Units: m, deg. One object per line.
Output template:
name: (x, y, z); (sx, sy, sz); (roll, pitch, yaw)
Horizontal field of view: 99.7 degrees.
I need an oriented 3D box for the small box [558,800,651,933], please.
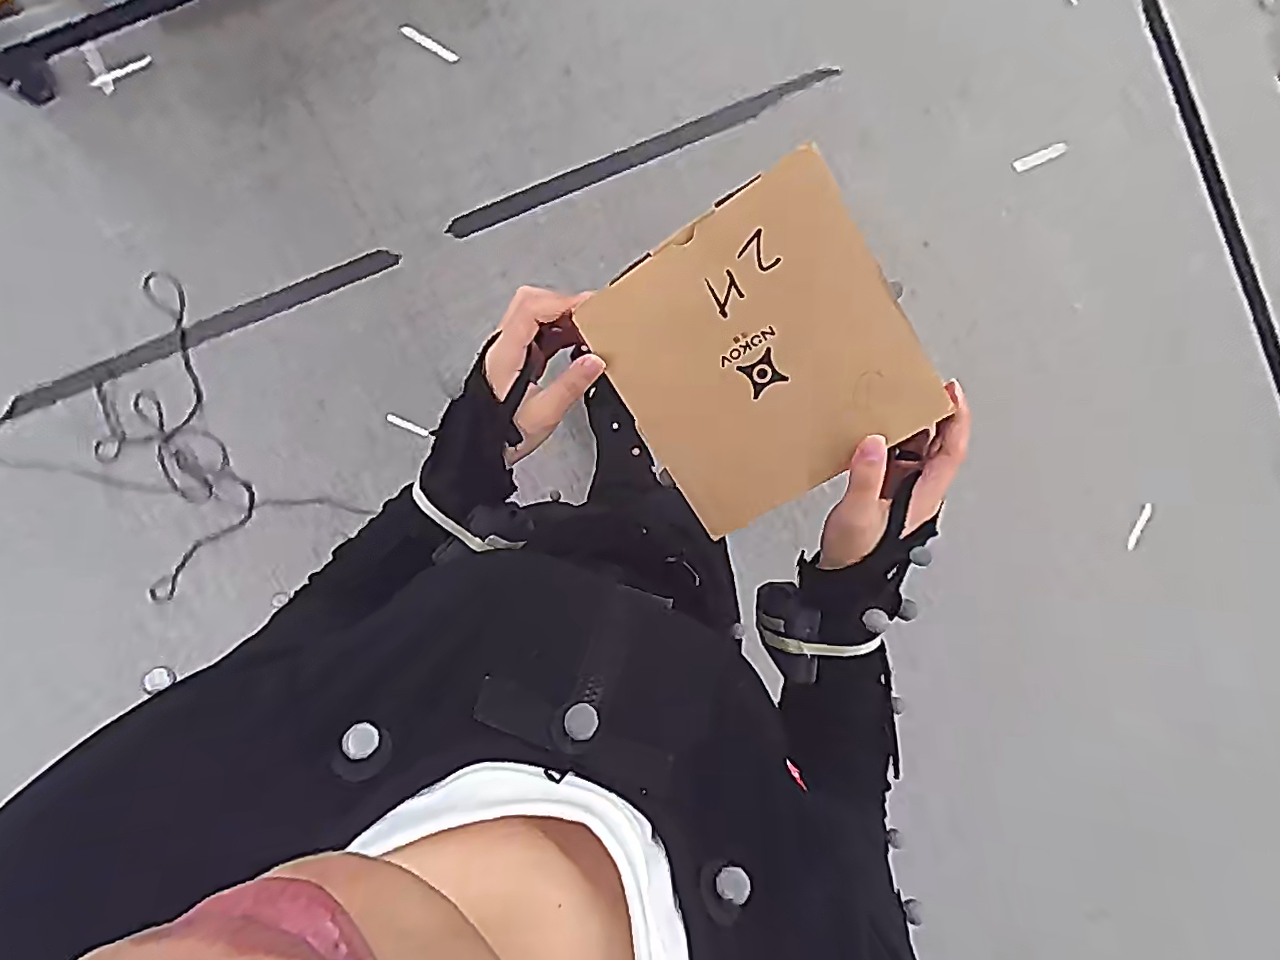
small box: (-0.085, 0.950, 1.344); (0.168, 0.176, 0.179); (-27, 94, -2)
